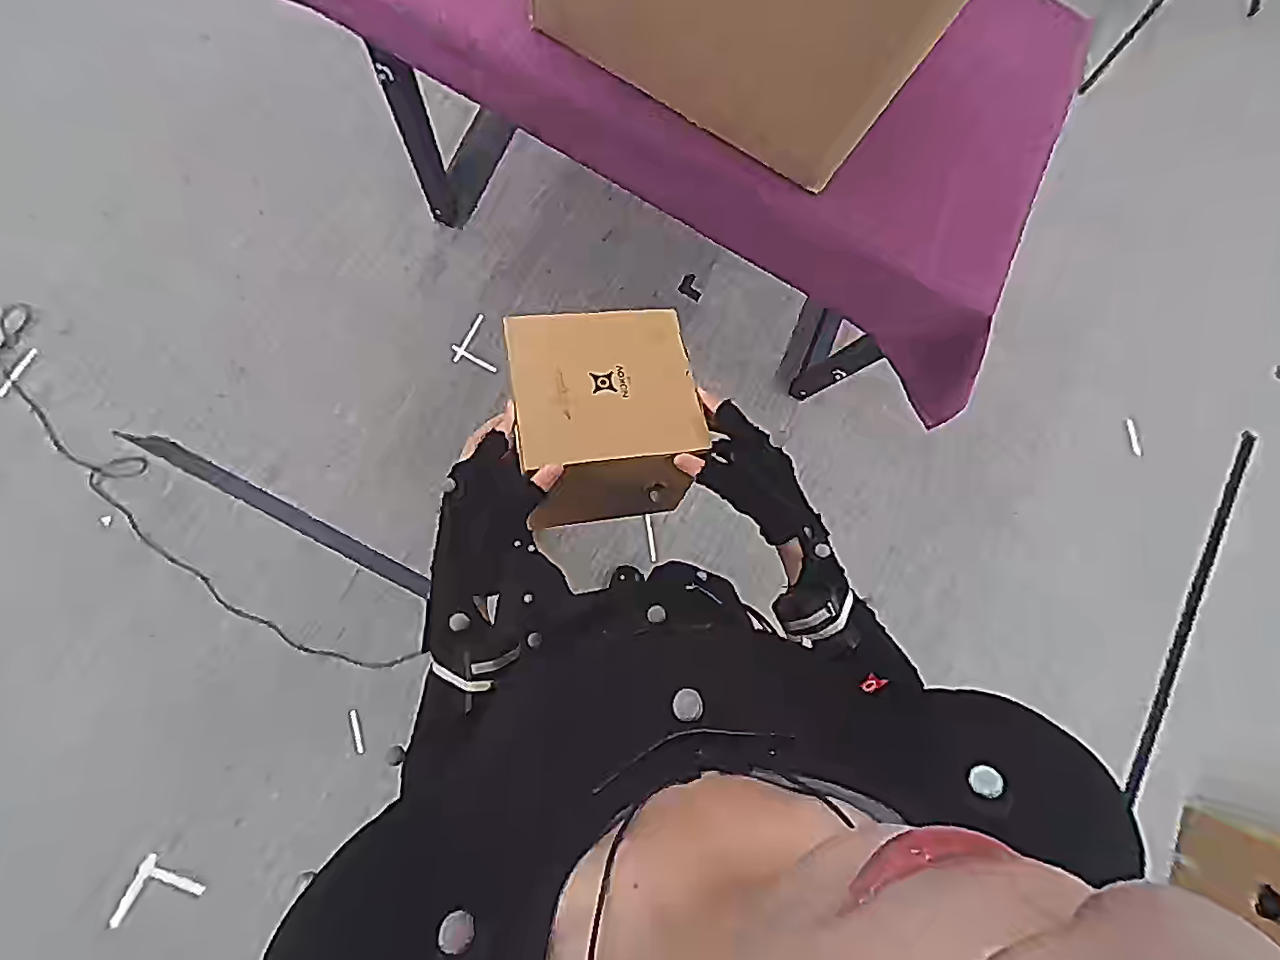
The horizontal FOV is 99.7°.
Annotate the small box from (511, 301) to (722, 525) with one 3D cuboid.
[{"bbox_3d":[-0.037,-0.064,0.568,0.179,0.176,0.168,-7,66,-13],"label":"small box"}]
